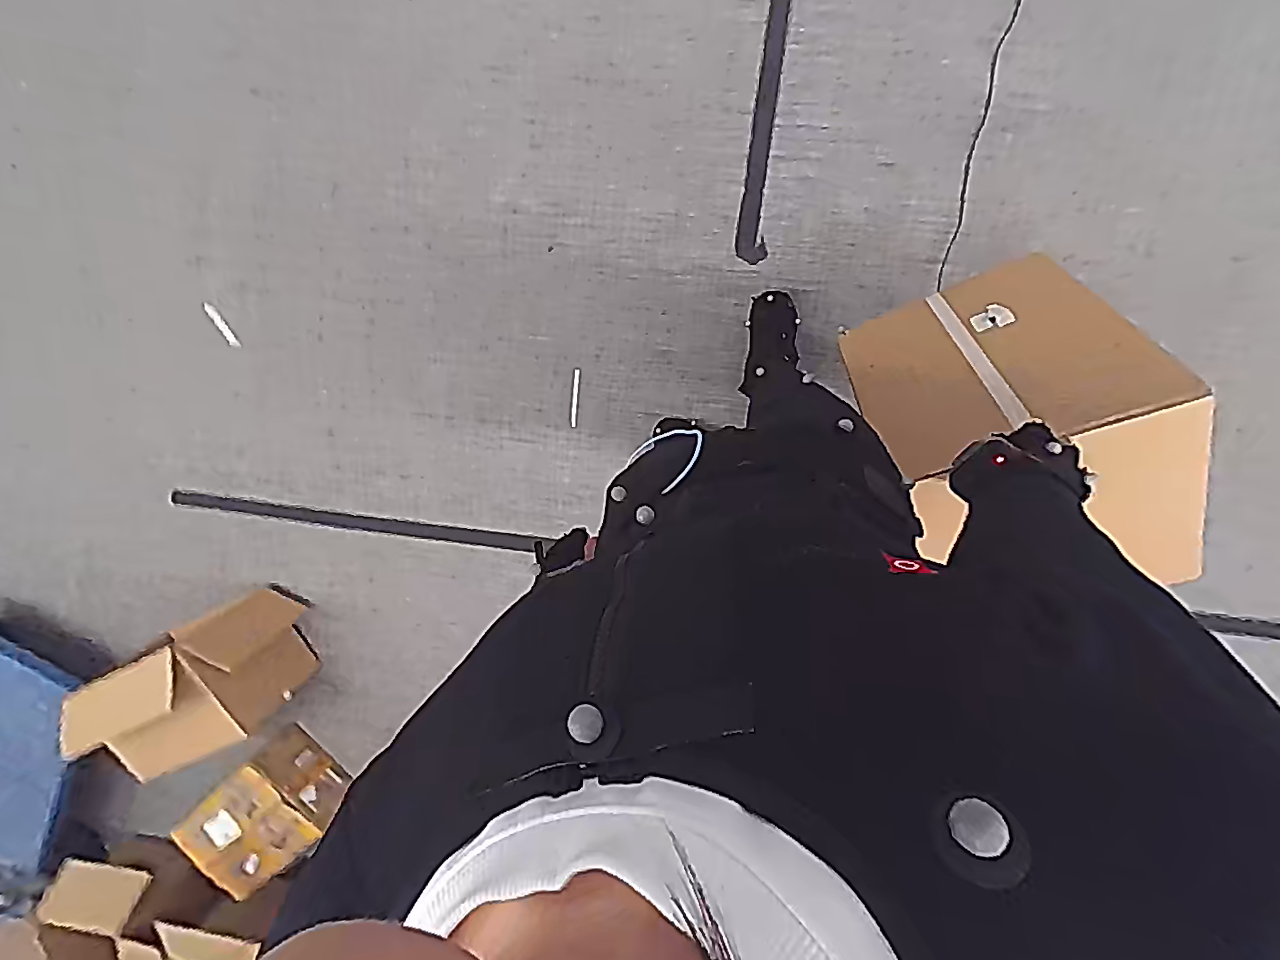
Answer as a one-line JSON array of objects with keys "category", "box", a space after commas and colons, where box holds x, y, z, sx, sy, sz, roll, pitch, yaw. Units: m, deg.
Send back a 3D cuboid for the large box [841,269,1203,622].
[{"category": "large box", "box": [0.543, -0.056, 0.837, 0.320, 0.408, 0.320, -18, 125, 23]}]
